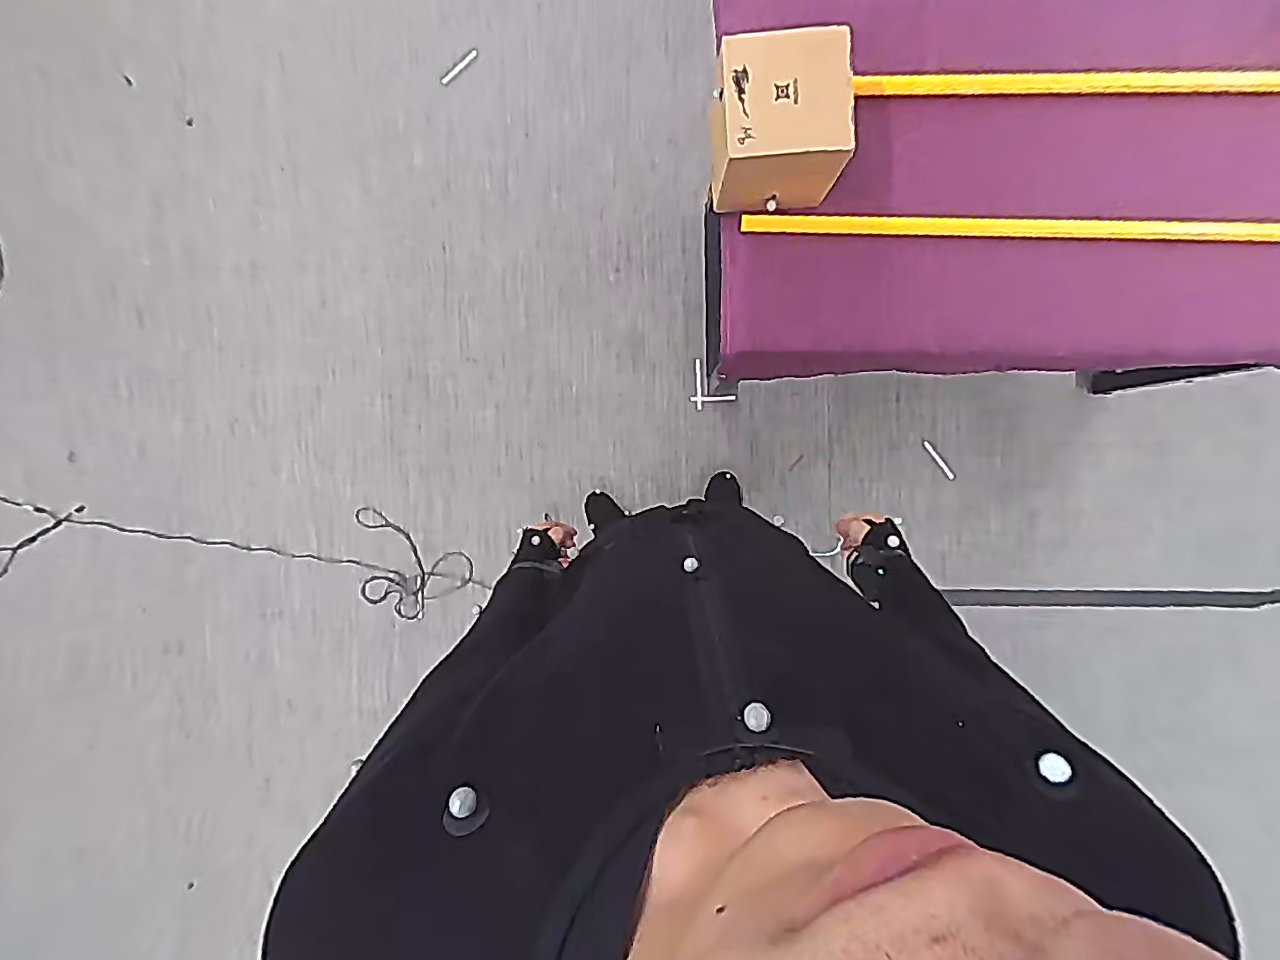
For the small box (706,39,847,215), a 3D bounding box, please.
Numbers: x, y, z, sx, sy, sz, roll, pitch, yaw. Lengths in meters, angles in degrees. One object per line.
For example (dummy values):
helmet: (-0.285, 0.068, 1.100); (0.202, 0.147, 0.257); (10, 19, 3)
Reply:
small box: (0.200, -0.528, 0.829); (0.179, 0.176, 0.168); (-3, 92, 1)
